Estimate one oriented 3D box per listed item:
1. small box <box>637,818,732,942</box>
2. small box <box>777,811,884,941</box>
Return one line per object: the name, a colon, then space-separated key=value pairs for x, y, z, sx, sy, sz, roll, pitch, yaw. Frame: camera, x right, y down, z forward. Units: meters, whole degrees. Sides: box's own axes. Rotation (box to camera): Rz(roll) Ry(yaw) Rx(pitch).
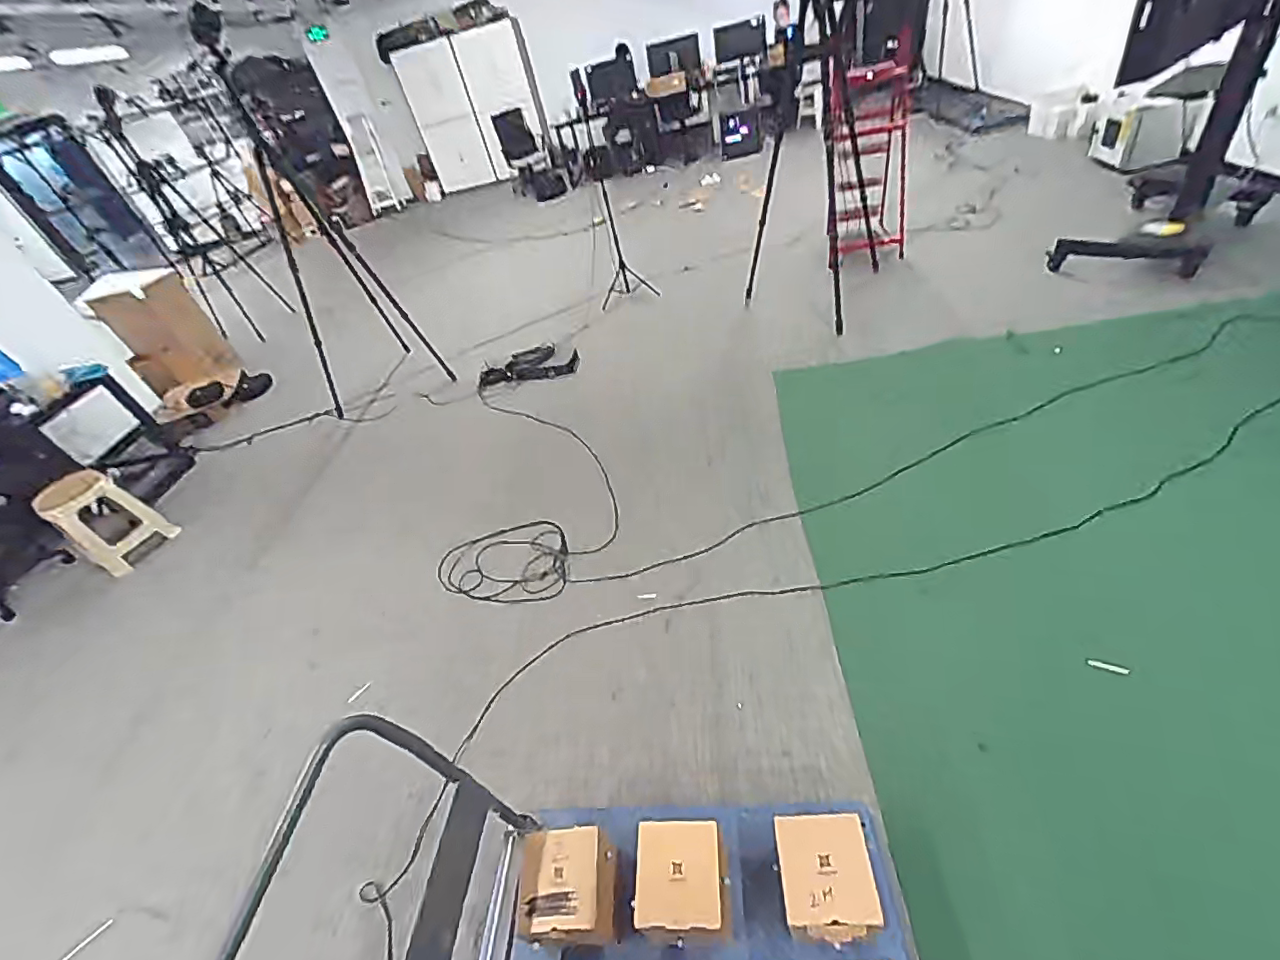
small box: x=0.096 y=0.825 z=1.117 sx=0.168 sy=0.176 sz=0.179 roll=-8 pitch=42 yaw=11
small box: x=0.368 y=0.781 z=1.068 sx=0.168 sy=0.176 sz=0.179 roll=-9 pitch=41 yaw=11
